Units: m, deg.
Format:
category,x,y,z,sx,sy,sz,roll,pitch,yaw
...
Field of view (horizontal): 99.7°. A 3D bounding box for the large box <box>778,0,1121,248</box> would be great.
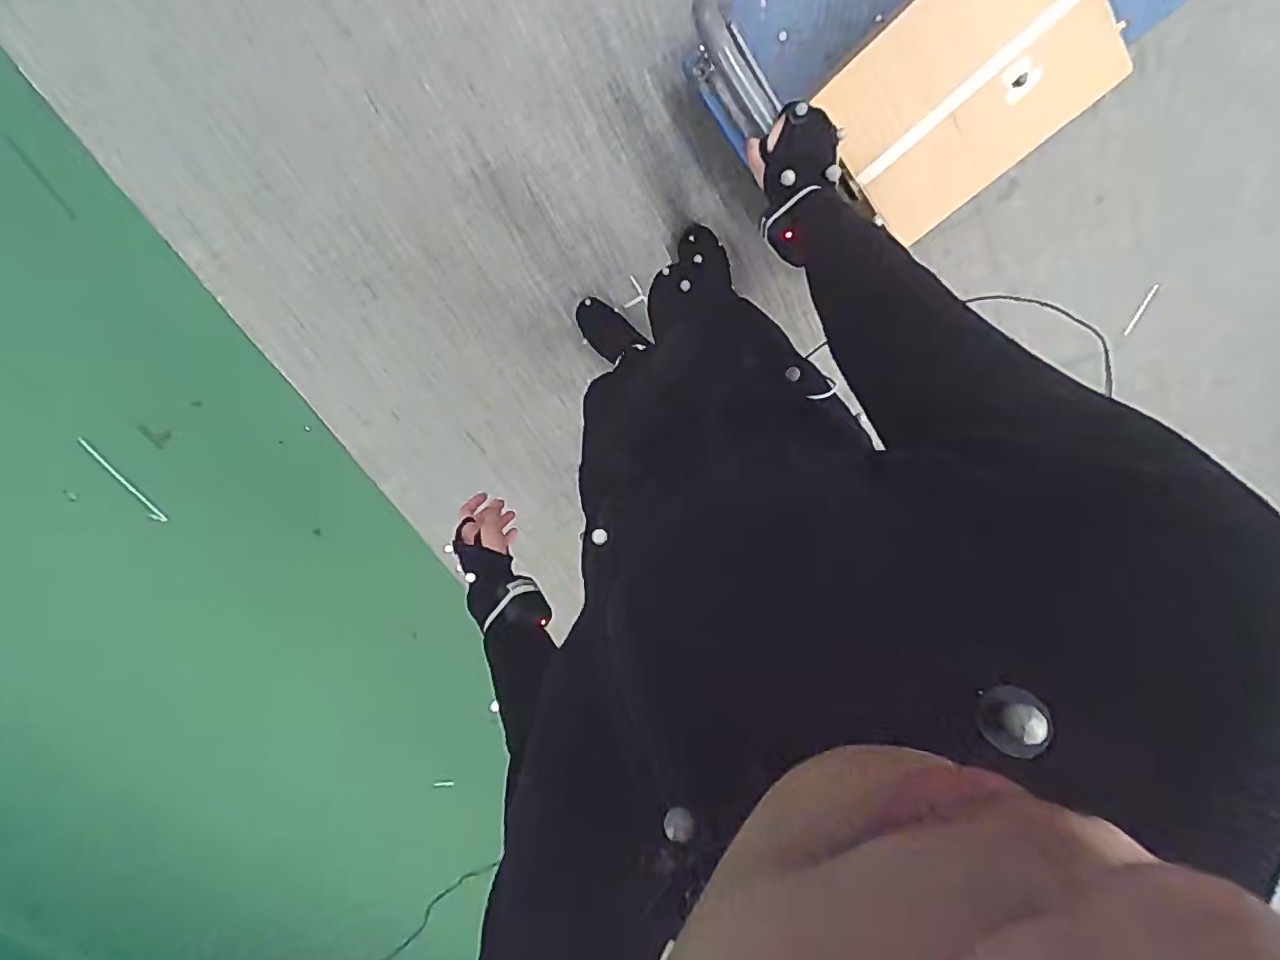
category,x,y,z,sx,sy,sz,roll,pitch,yaw
large box,0.531,-0.710,1.014,0.408,0.320,0.320,-37,111,21
